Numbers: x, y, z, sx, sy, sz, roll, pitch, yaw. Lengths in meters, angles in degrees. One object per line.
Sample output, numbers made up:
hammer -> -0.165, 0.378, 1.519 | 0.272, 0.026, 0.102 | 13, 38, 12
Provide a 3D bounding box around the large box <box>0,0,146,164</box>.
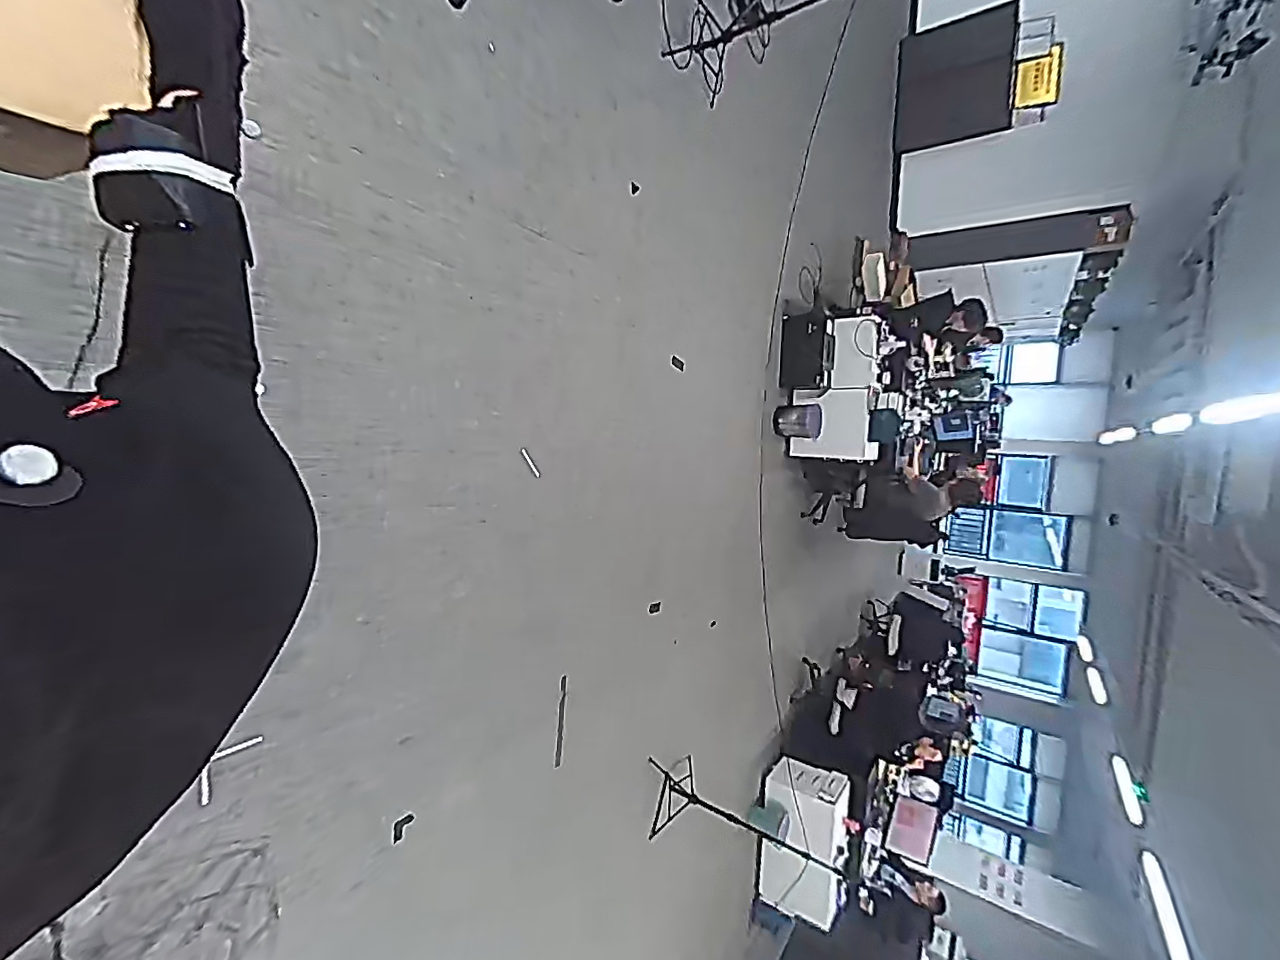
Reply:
large box -> -0.574, -0.411, 0.278 | 0.408, 0.320, 0.320 | -9, 112, -57
